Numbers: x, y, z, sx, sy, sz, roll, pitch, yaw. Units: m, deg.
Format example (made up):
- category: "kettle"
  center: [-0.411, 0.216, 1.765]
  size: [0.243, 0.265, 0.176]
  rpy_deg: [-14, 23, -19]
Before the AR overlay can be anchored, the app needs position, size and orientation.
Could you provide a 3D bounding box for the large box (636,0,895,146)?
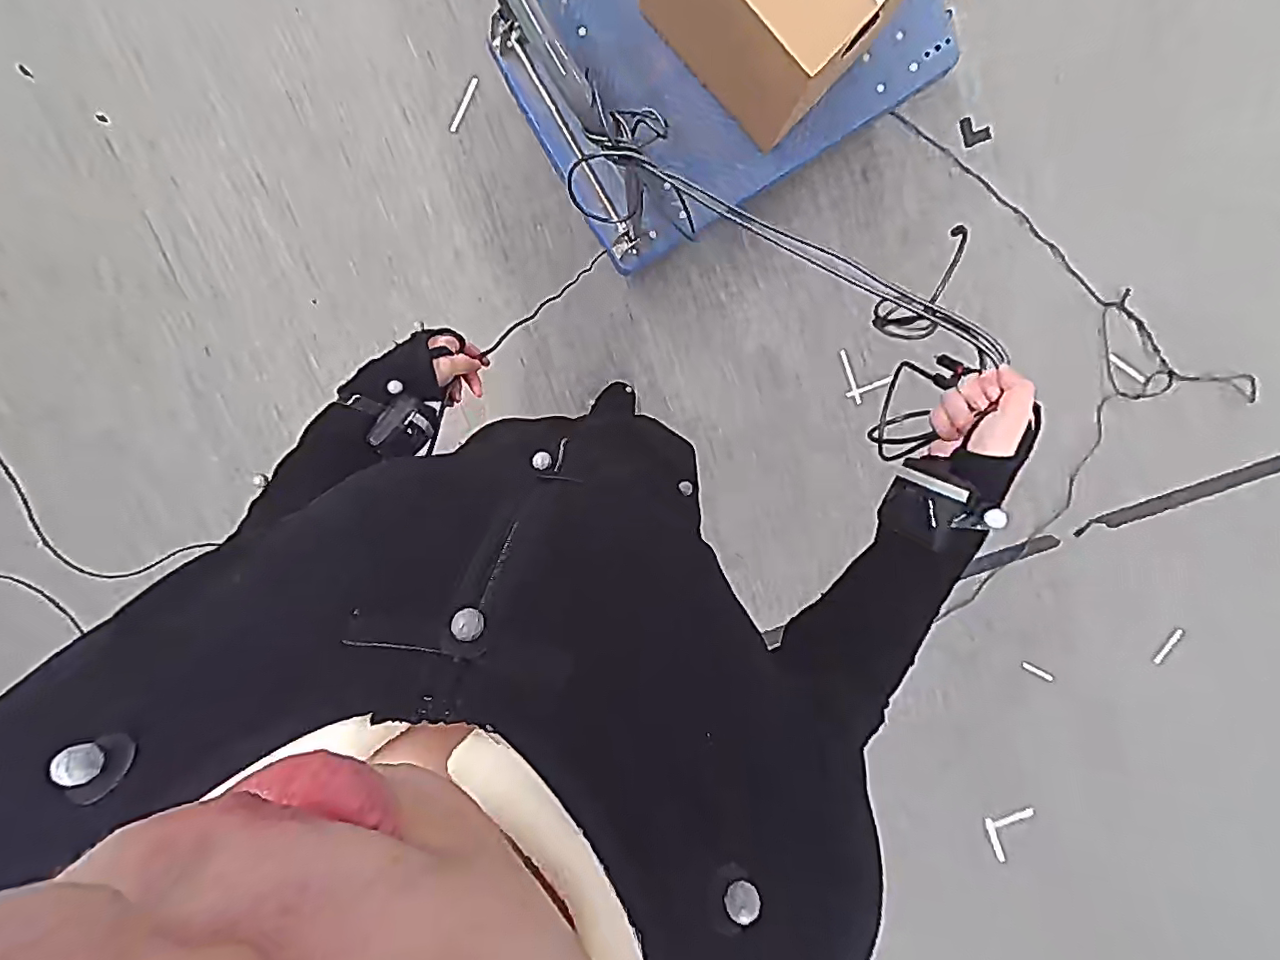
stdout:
- category: "large box"
  center: [0.240, -0.939, 0.995]
  size: [0.408, 0.320, 0.320]
  rpy_deg: [43, 97, -9]
